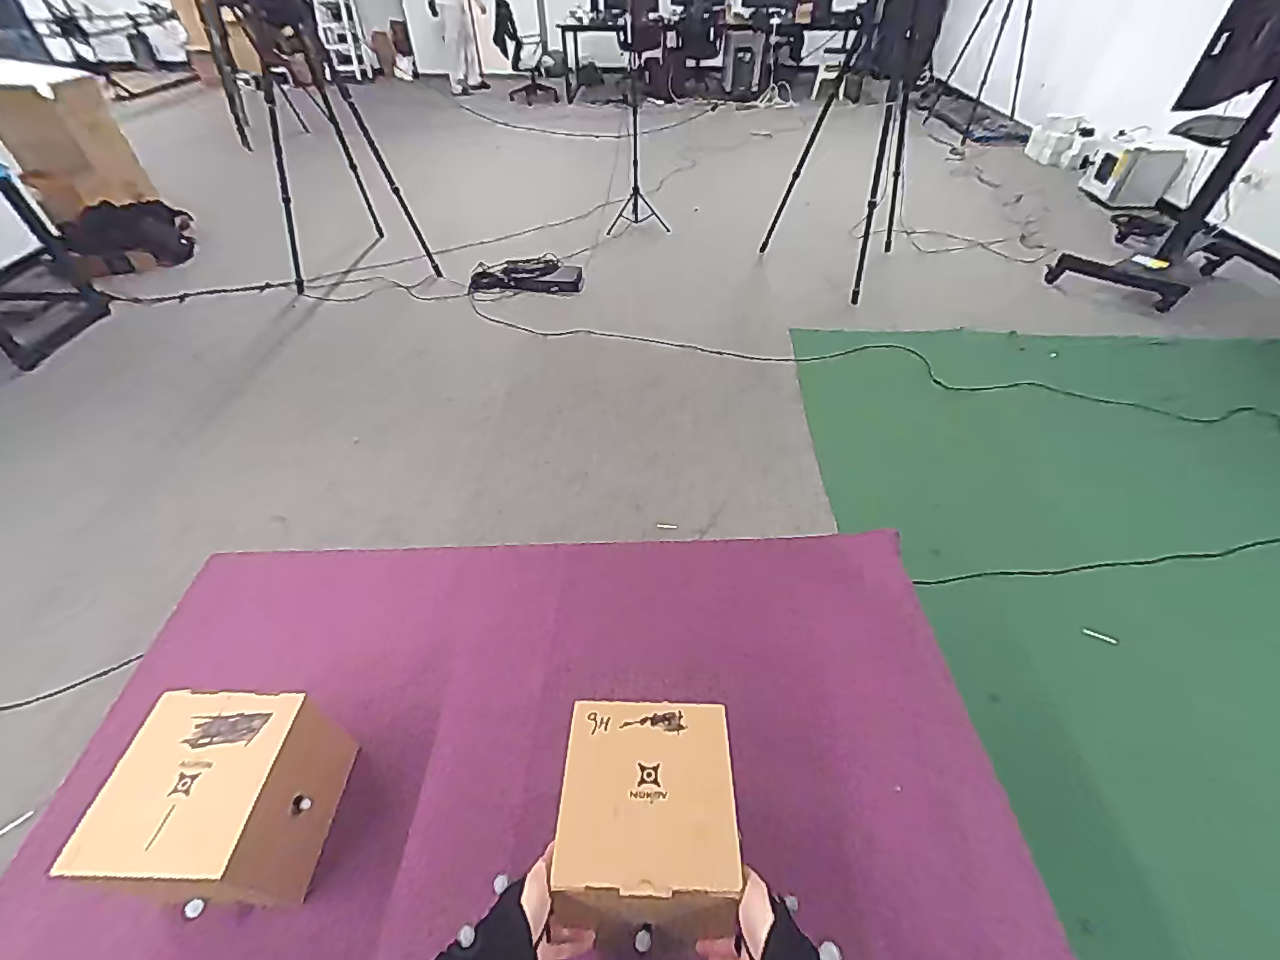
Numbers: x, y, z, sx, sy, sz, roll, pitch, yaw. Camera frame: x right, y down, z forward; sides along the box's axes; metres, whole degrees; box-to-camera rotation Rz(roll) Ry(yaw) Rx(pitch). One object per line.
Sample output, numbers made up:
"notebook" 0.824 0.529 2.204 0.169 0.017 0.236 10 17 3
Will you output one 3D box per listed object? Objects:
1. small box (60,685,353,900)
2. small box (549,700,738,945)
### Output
"small box" -0.459 0.356 0.617 0.168 0.176 0.179 1 47 1
"small box" 0.007 0.360 0.571 0.168 0.176 0.179 2 37 1
